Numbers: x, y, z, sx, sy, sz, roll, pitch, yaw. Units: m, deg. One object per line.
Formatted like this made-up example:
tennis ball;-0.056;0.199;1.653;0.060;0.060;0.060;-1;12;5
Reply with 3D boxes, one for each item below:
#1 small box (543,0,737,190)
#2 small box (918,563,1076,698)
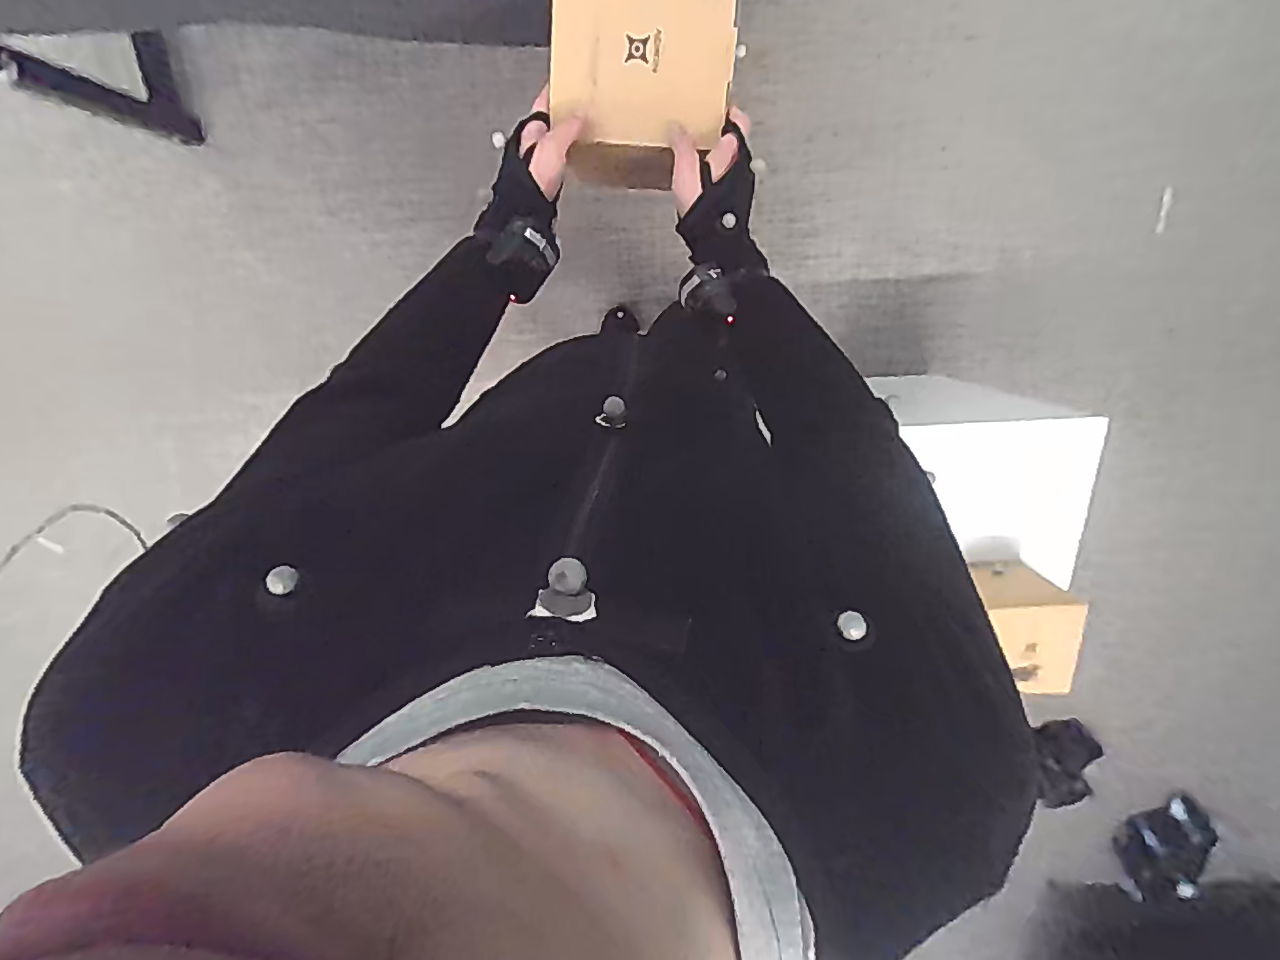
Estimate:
small box;0.003;-0.421;0.574;0.179;0.176;0.168;4;104;3
small box;0.633;0.268;0.985;0.168;0.176;0.179;-2;108;-2
